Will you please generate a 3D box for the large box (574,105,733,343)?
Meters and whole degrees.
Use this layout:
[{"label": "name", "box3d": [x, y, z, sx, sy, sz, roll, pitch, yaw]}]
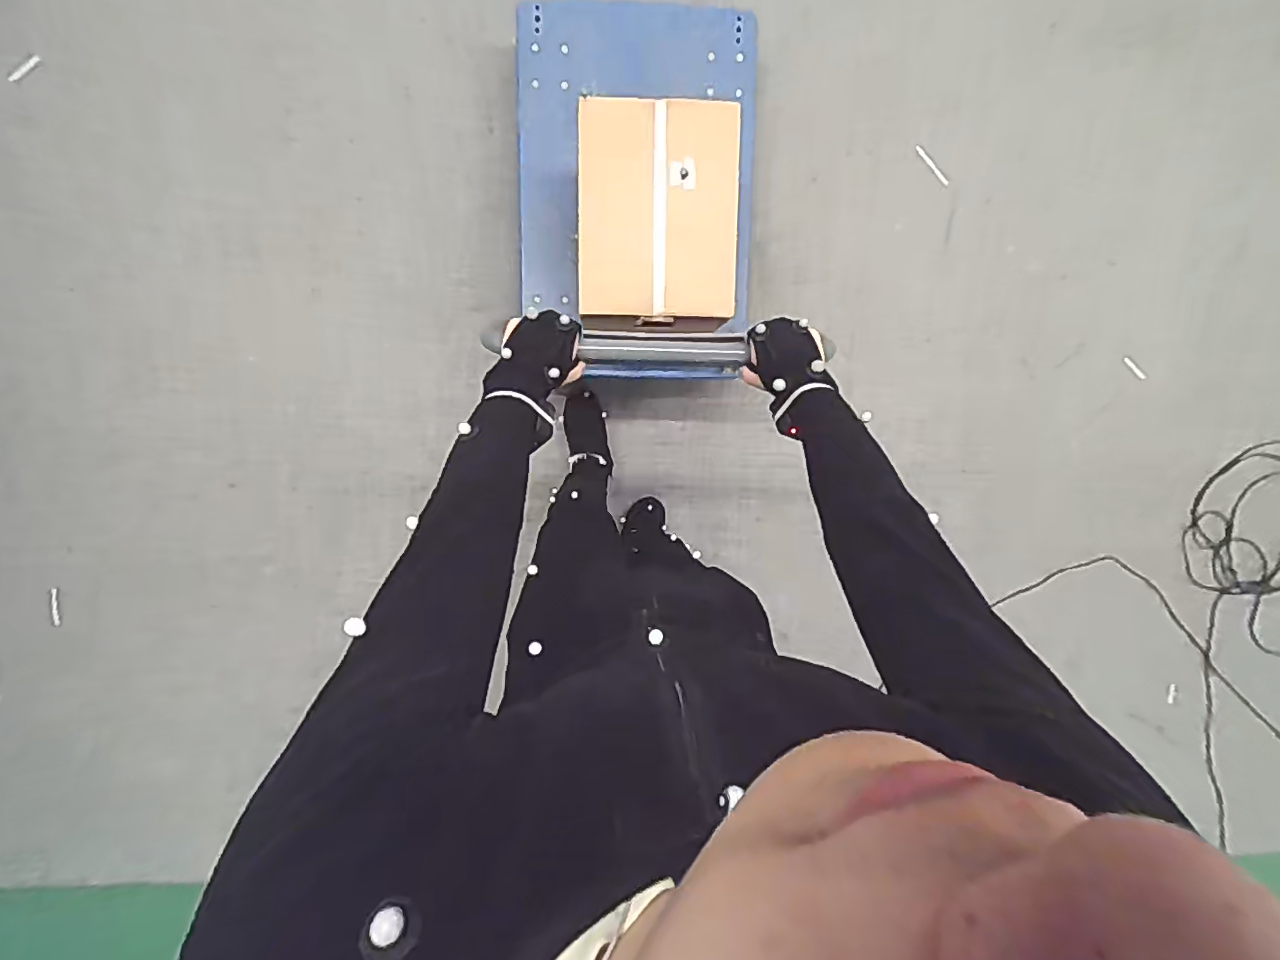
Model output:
[{"label": "large box", "box3d": [0.022, -0.533, 1.207, 0.320, 0.320, 0.408, 0, 95, -4]}]
